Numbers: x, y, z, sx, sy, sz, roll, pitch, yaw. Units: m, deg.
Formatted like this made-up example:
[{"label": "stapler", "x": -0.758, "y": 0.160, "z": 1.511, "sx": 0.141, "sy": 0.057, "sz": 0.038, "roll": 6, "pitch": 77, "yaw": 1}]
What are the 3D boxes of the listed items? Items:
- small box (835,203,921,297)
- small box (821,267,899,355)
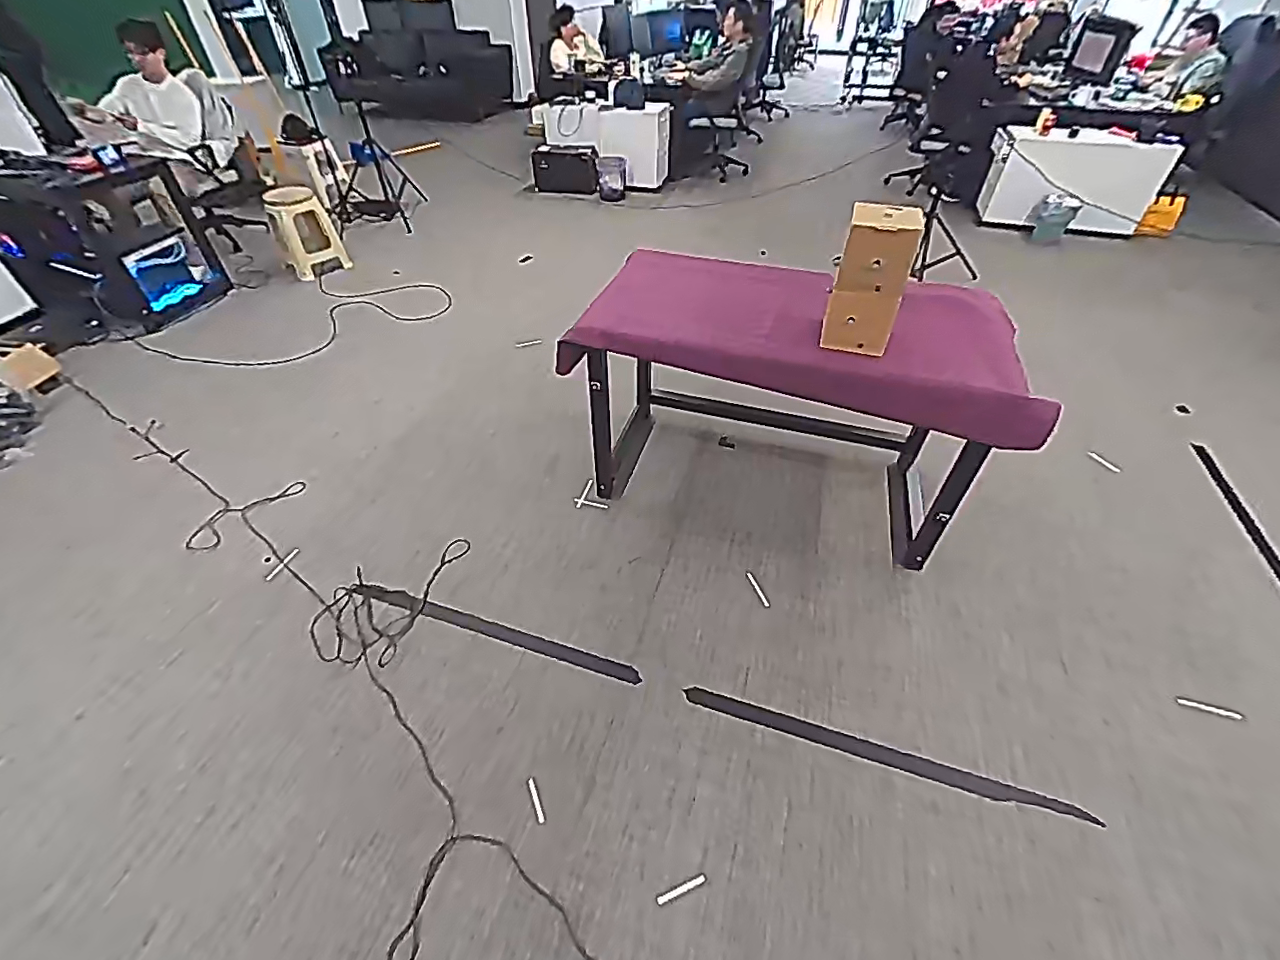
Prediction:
[{"label": "small box", "x": 0.604, "y": -0.586, "z": 1.382, "sx": 0.168, "sy": 0.176, "sz": 0.179, "roll": 13, "pitch": 45, "yaw": 14}, {"label": "small box", "x": 0.603, "y": -0.465, "z": 1.492, "sx": 0.168, "sy": 0.176, "sz": 0.179, "roll": 12, "pitch": 45, "yaw": 13}]
